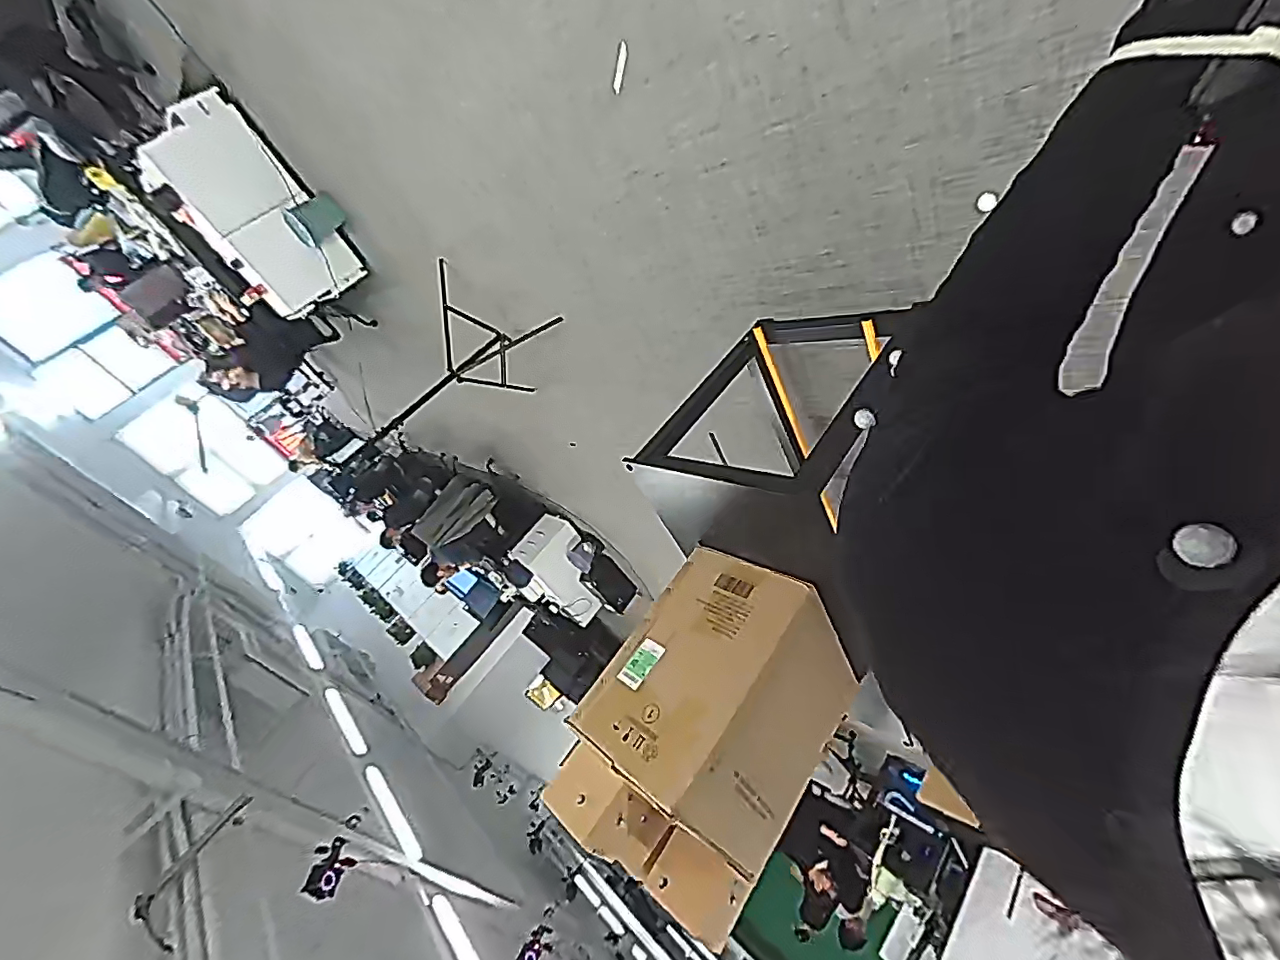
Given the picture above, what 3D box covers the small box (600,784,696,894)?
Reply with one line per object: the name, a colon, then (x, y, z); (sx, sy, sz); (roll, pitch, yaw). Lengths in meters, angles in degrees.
small box: (0.028, 0.997, 1.511); (0.168, 0.176, 0.179); (15, 145, 48)
